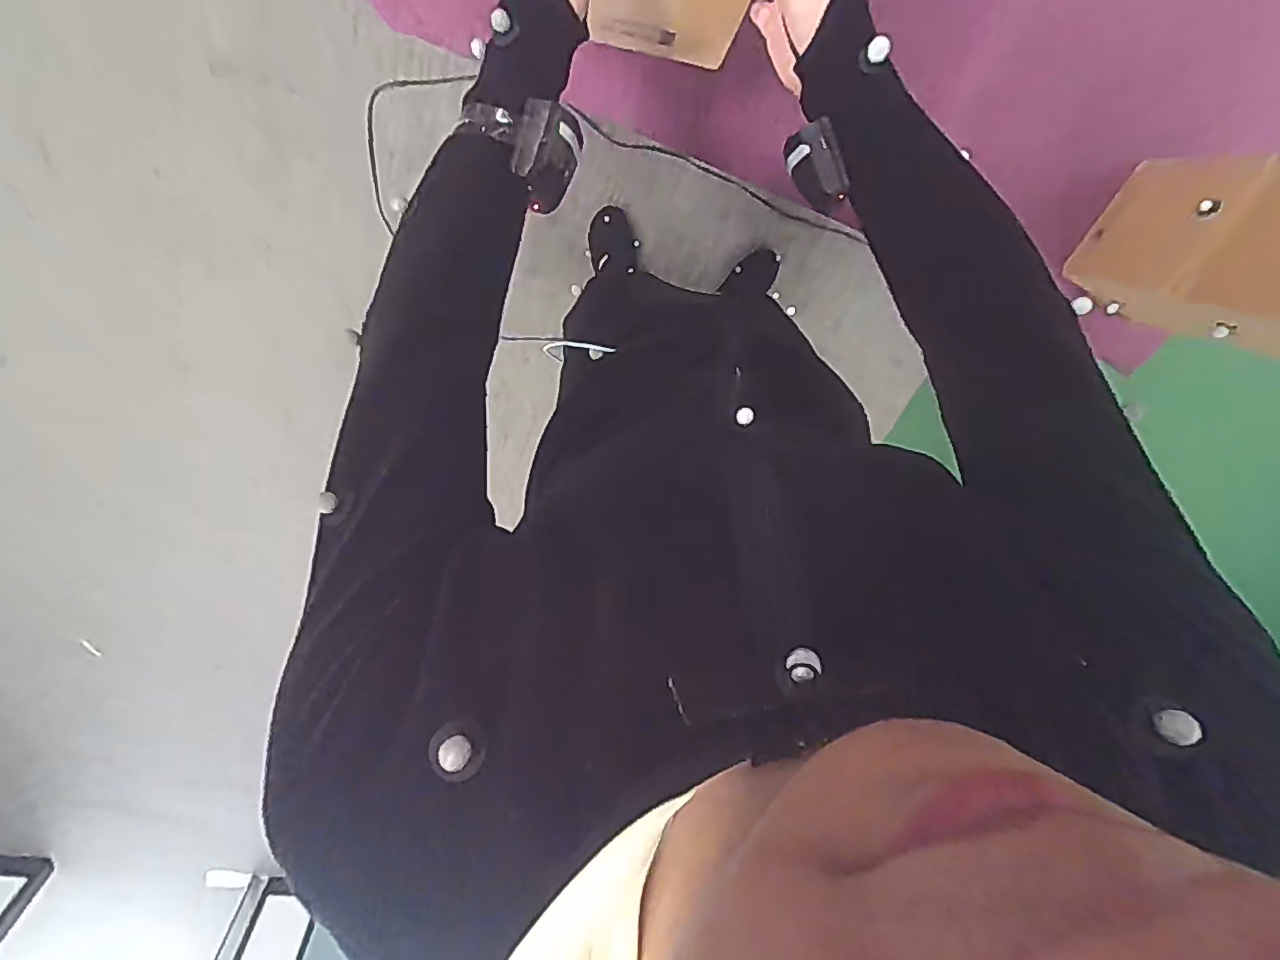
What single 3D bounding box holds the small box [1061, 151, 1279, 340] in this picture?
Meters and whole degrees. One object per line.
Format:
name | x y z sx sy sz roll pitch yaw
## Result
small box | 0.741 -0.317 0.730 0.179 0.176 0.168 20 115 -17
